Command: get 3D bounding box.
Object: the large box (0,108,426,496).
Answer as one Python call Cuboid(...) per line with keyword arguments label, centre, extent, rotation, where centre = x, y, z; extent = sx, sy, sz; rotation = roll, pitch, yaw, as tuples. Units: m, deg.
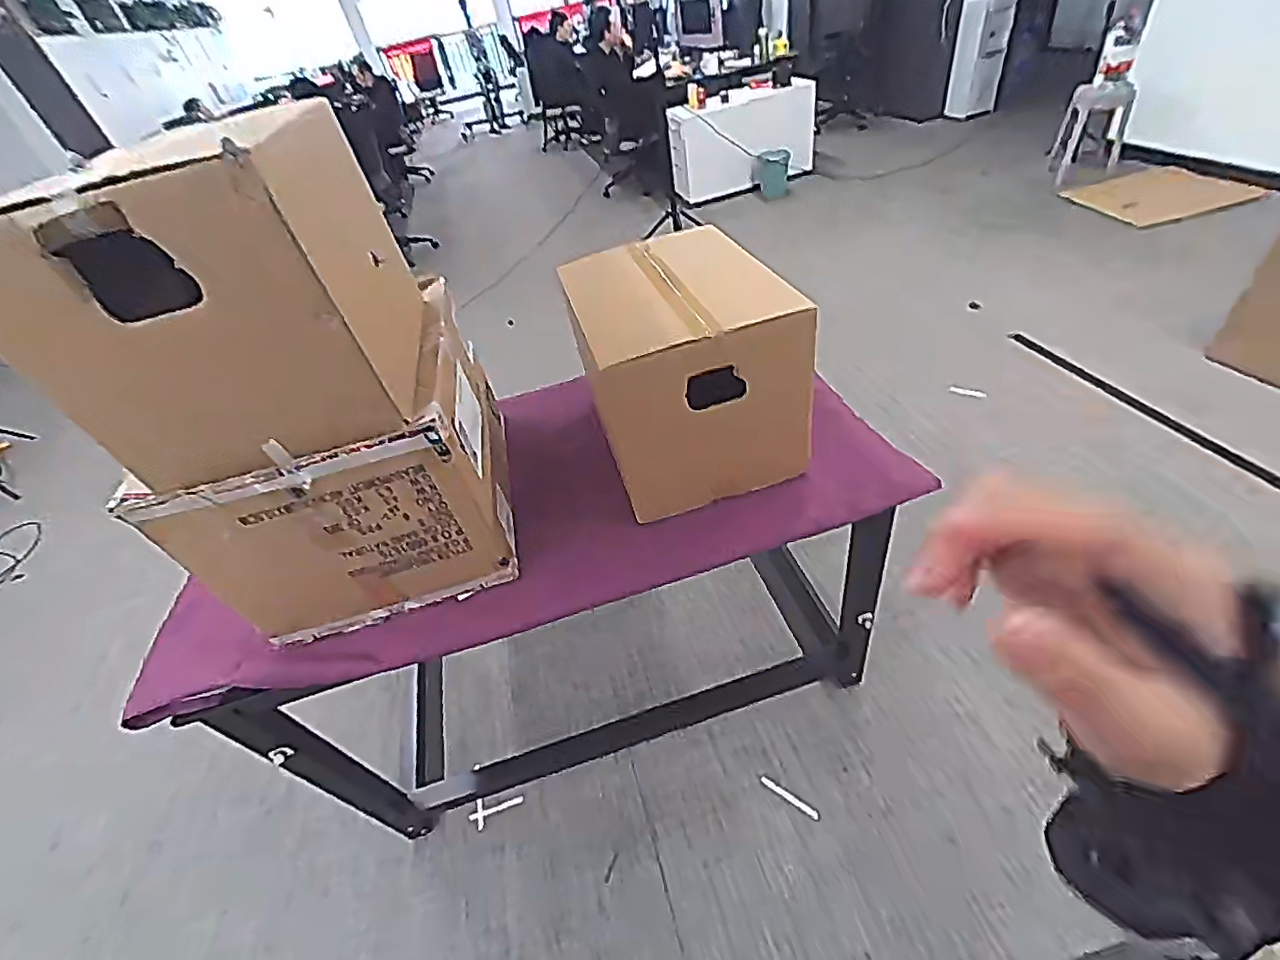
Cuboid(label="large box", centre=(-0.497, -0.251, 0.713), extent=(0.320, 0.320, 0.408), rotation=(-19, 43, -4))
